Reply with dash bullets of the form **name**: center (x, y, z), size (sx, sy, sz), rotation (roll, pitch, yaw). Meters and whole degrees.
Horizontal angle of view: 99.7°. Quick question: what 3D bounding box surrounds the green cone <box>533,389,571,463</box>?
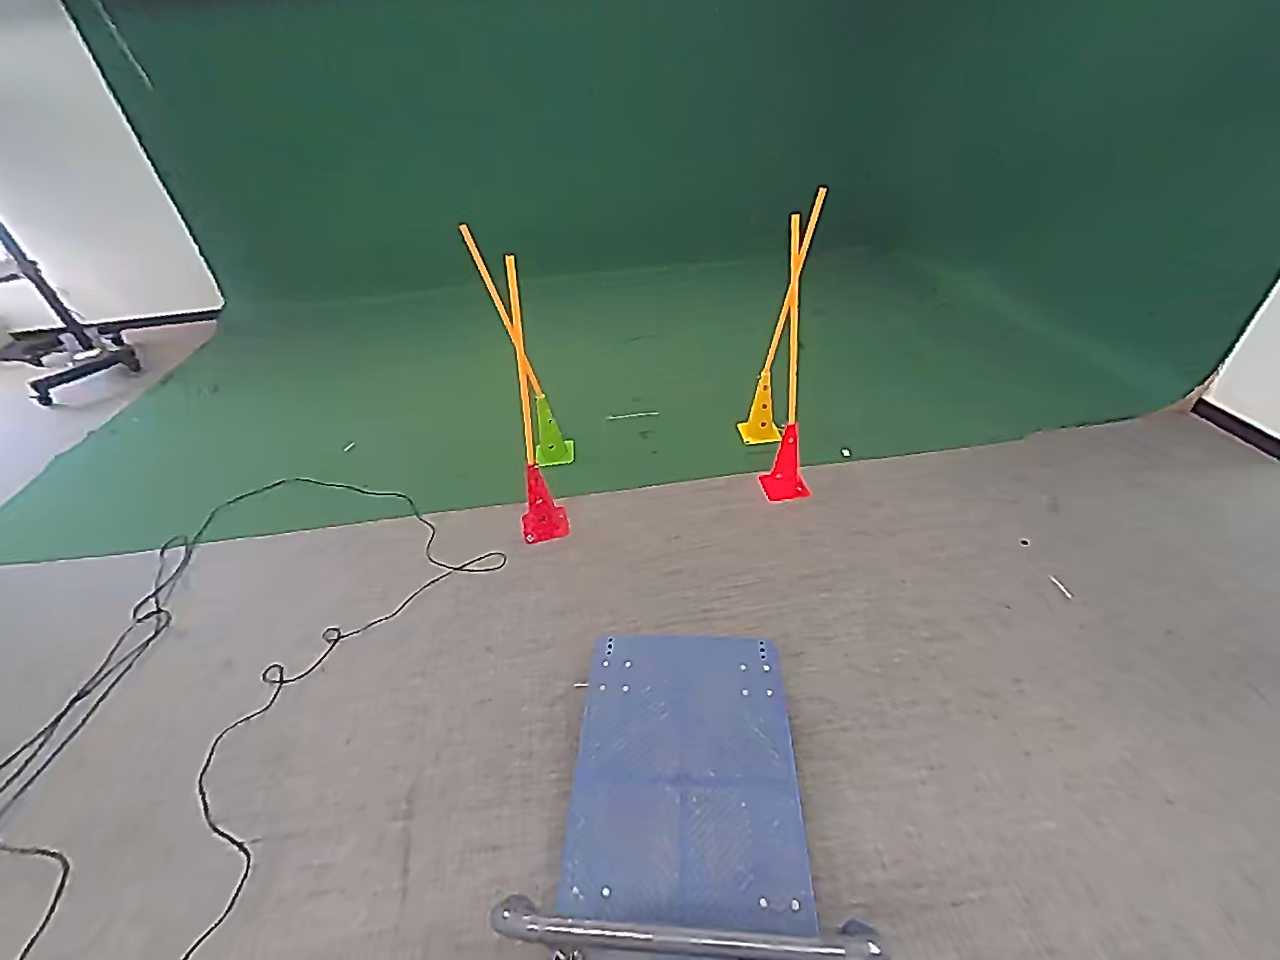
- **green cone**: center (-0.475, -0.293, 2.744), size (0.200, 0.368, 0.202), rotation (-8, 38, -2)

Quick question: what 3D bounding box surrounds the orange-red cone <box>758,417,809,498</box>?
- **orange-red cone**: center (0.657, -0.120, 2.418), size (0.198, 0.360, 0.199), rotation (-6, 37, -3)
